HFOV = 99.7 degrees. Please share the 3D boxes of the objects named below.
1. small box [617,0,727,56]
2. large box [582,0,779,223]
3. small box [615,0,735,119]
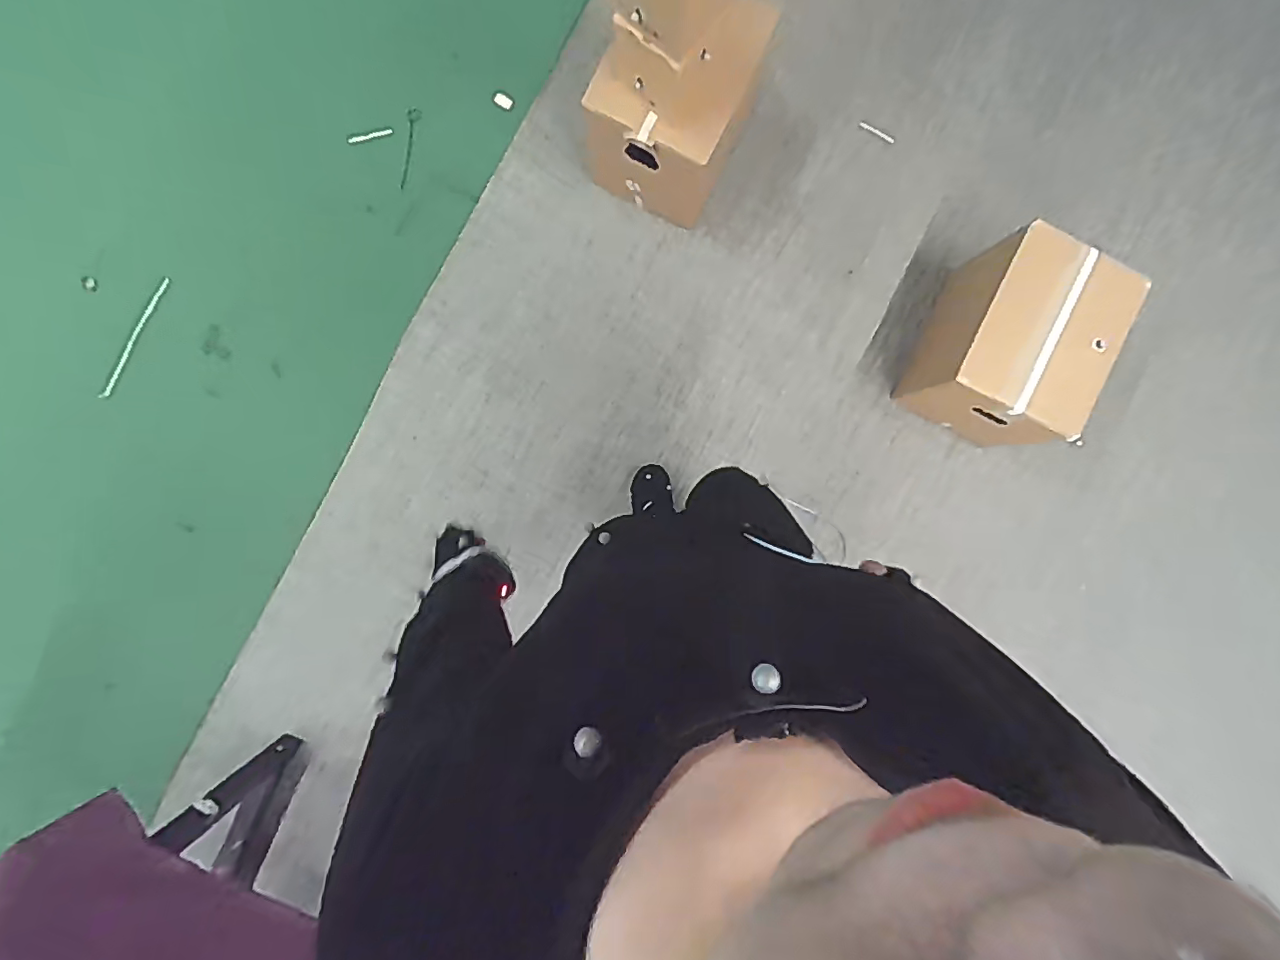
[{"bbox_3d":[0.065,-0.906,0.934,0.168,0.176,0.179,41,91,0],"label":"small box"},{"bbox_3d":[0.088,-0.942,1.339,0.320,0.320,0.408,26,89,-1],"label":"large box"},{"bbox_3d":[0.063,-0.897,1.097,0.168,0.176,0.179,37,90,-1],"label":"small box"}]
